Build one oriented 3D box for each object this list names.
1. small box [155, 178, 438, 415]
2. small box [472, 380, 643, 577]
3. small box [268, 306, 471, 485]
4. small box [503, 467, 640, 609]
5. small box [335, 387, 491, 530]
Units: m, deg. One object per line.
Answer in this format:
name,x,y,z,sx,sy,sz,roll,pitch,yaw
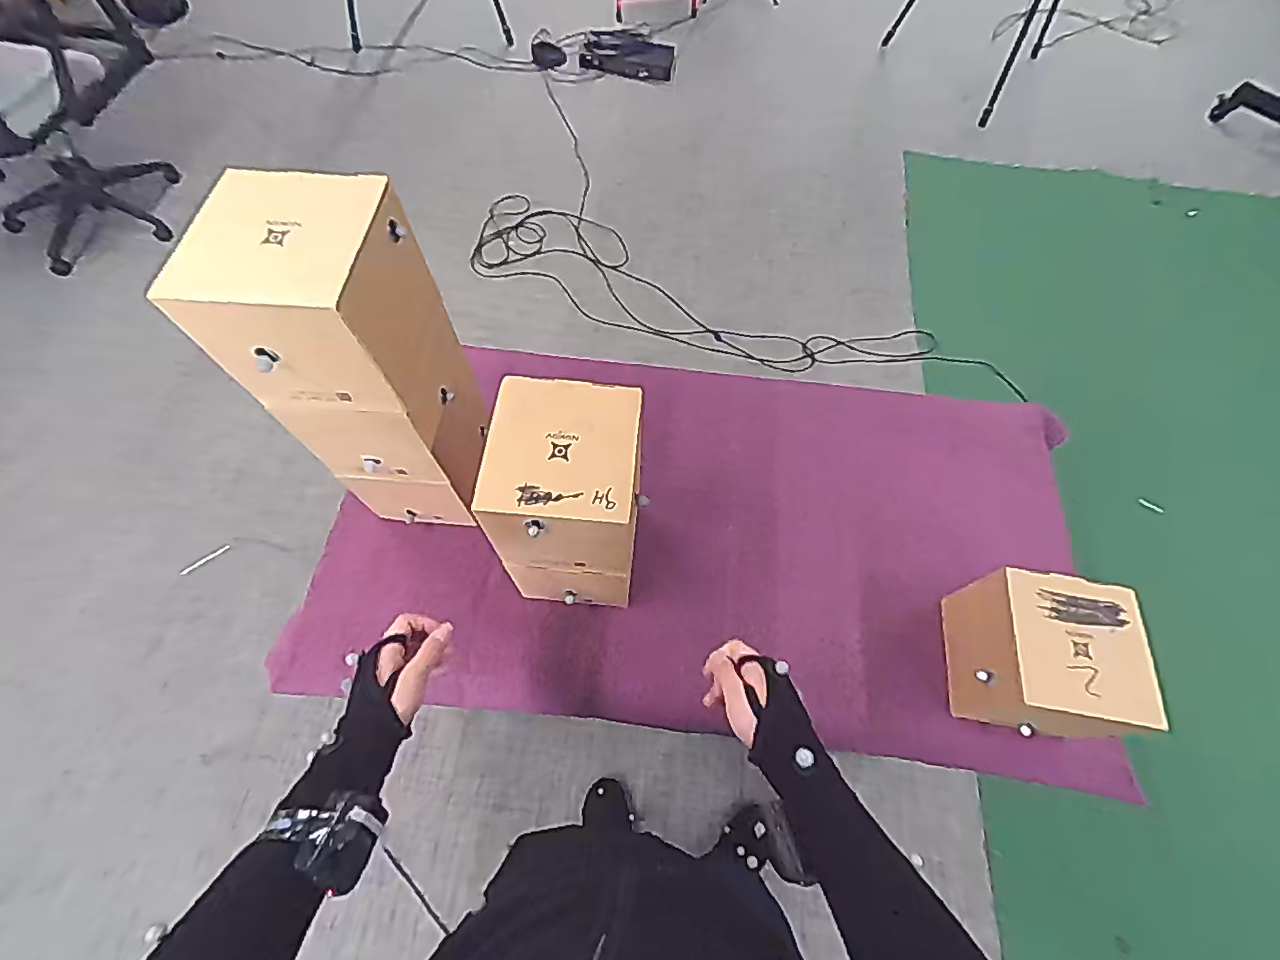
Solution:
small box,-0.333,-0.185,0.572,0.168,0.176,0.179,3,63,1
small box,-0.088,0.003,0.664,0.168,0.176,0.179,5,62,2
small box,-0.336,-0.112,0.717,0.168,0.176,0.179,4,64,1
small box,-0.092,0.080,0.809,0.168,0.176,0.179,5,63,2
small box,-0.342,-0.037,0.862,0.168,0.176,0.179,4,64,1
